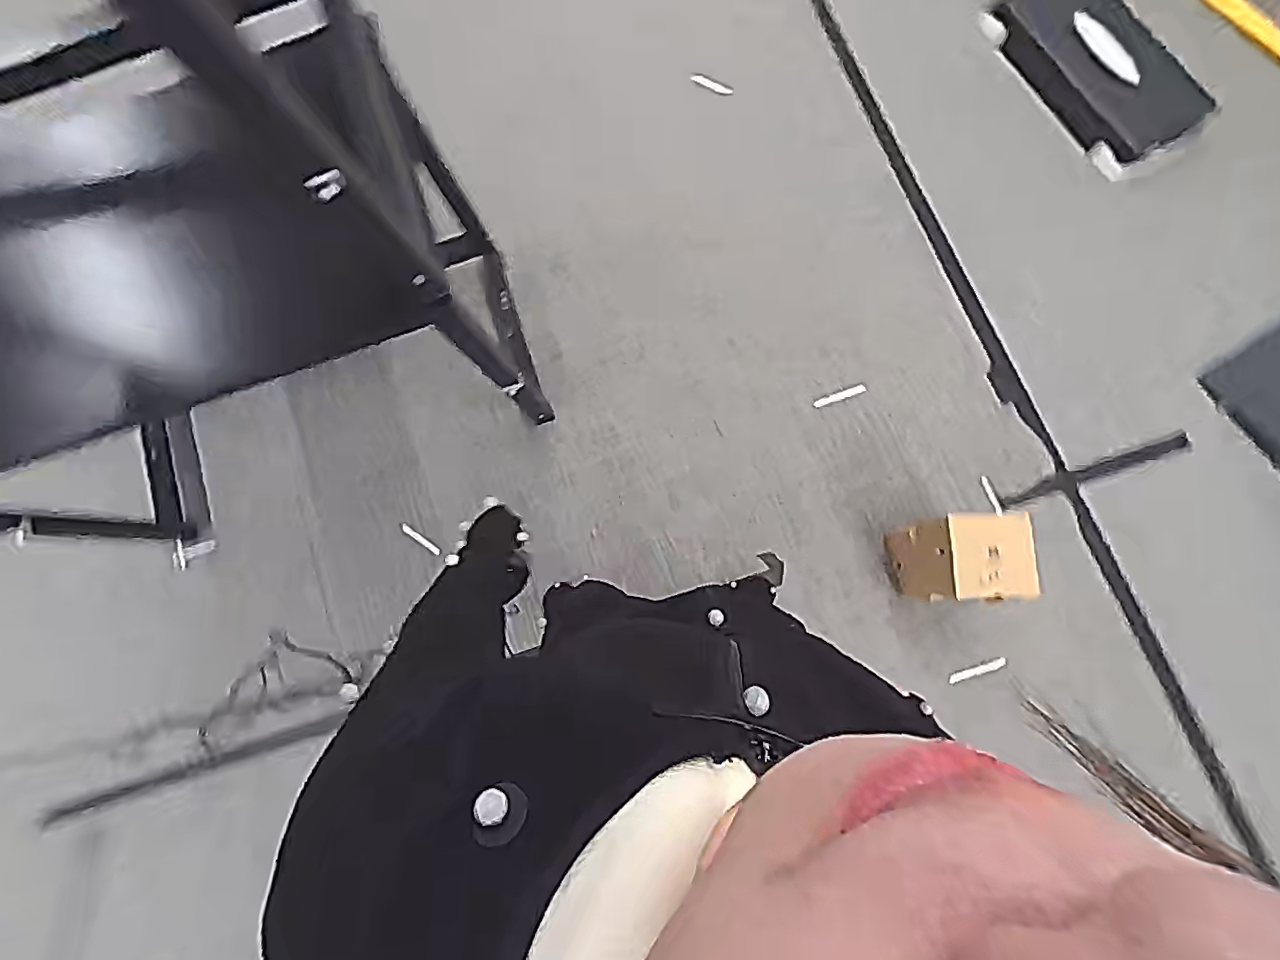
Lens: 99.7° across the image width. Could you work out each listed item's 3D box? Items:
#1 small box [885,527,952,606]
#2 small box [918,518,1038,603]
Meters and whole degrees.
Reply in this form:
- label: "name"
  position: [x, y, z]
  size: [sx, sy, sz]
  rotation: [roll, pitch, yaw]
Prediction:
- label: "small box"
  position: [0.747, 0.206, 1.362]
  size: [0.168, 0.176, 0.179]
  rotation: [-14, 82, 2]
- label: "small box"
  position: [0.736, 0.180, 1.199]
  size: [0.168, 0.176, 0.179]
  rotation: [-1, 81, 5]
